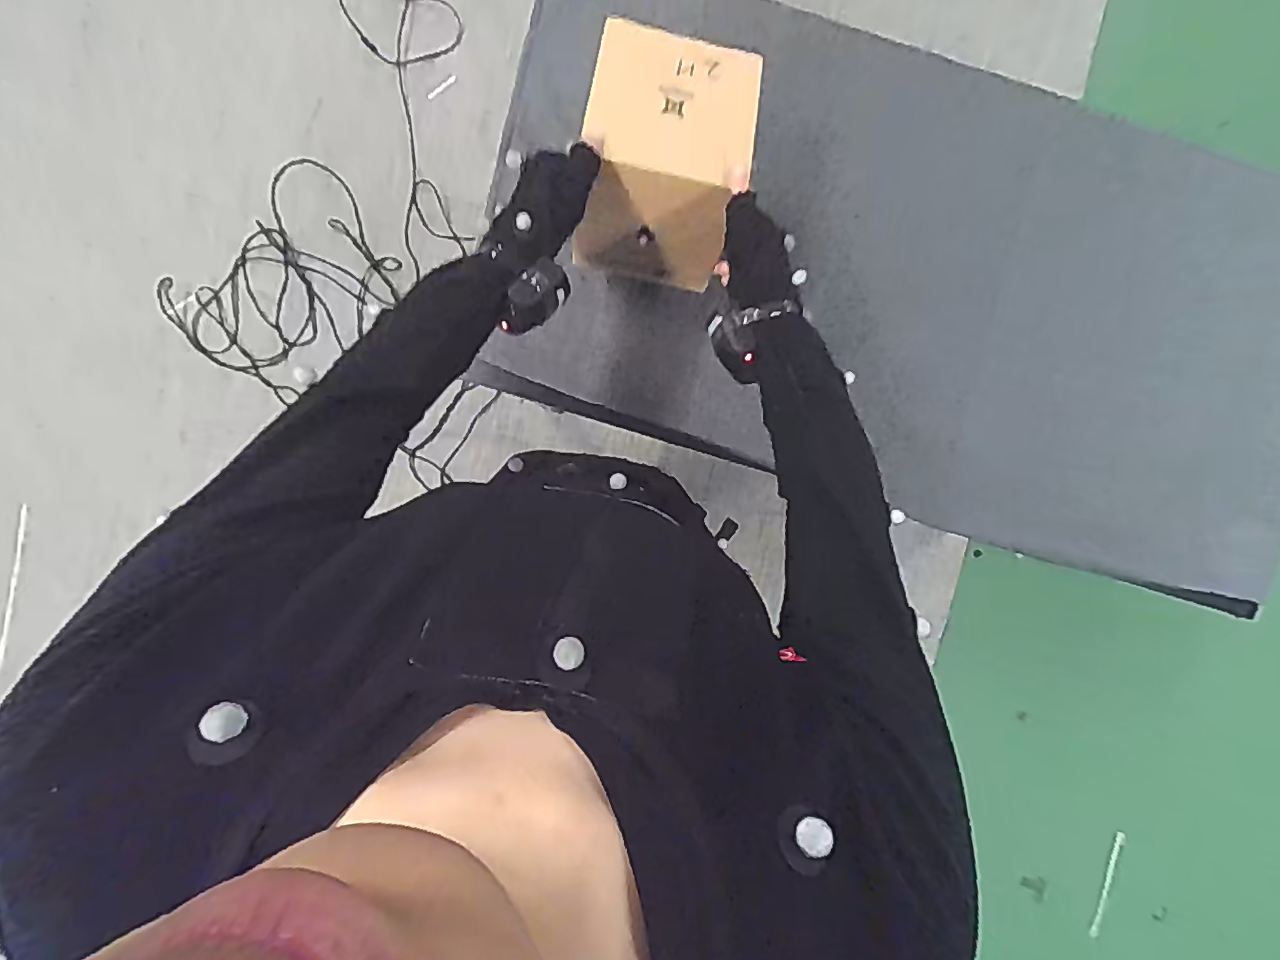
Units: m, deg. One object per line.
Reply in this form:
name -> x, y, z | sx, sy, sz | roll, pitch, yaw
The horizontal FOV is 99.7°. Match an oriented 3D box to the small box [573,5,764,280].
small box -> 0.022, -0.352, 0.595 | 0.168, 0.176, 0.179 | 11, 74, -7
